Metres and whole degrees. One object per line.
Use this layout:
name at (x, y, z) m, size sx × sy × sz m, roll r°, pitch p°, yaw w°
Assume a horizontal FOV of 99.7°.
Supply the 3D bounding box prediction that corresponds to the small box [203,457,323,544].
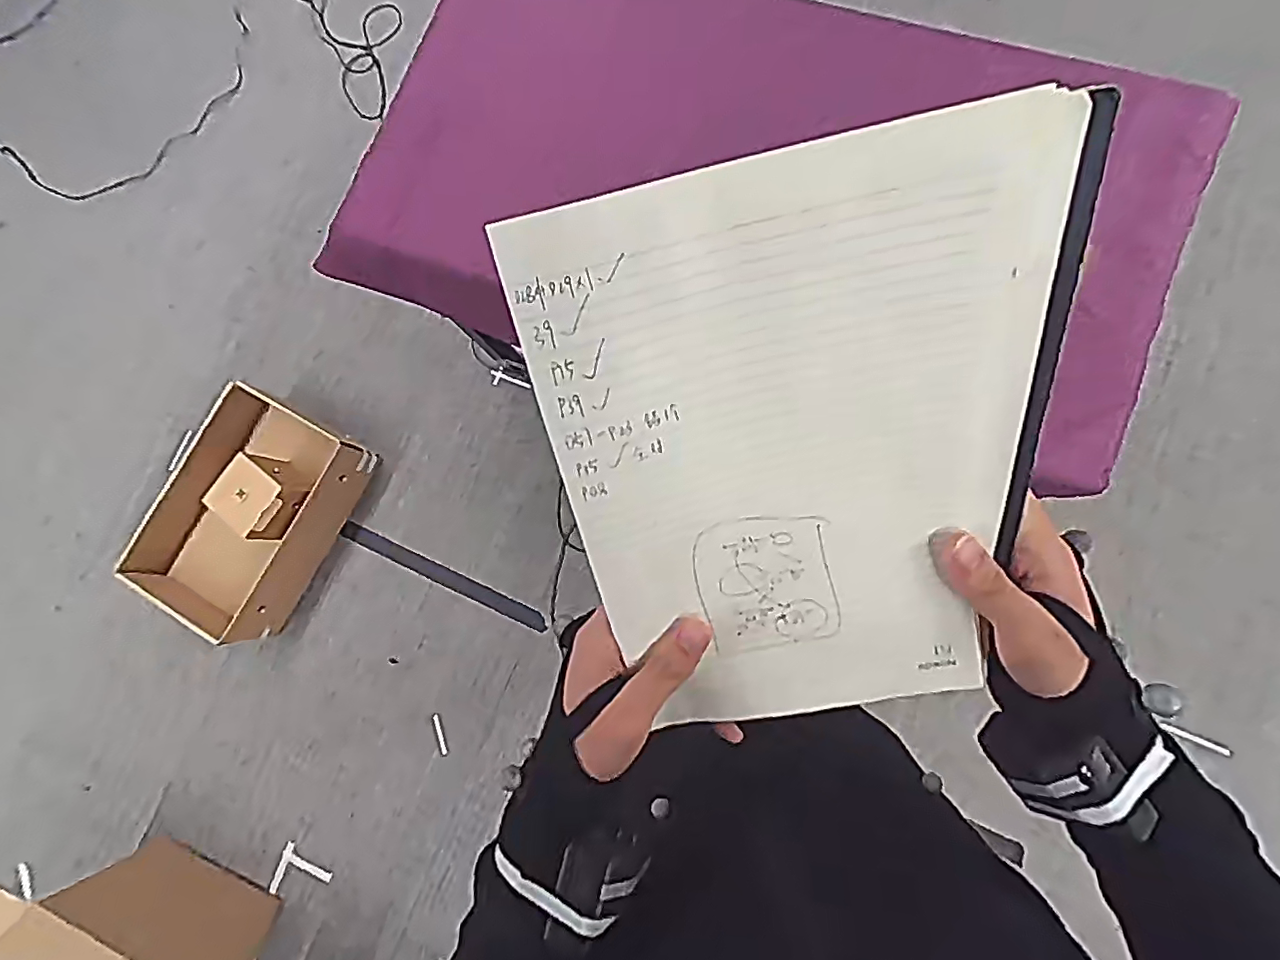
small box at (-1.031, 0.060, 1.496) m, size 0.179 × 0.176 × 0.168 m, roll 36°, pitch 87°, yaw 10°
